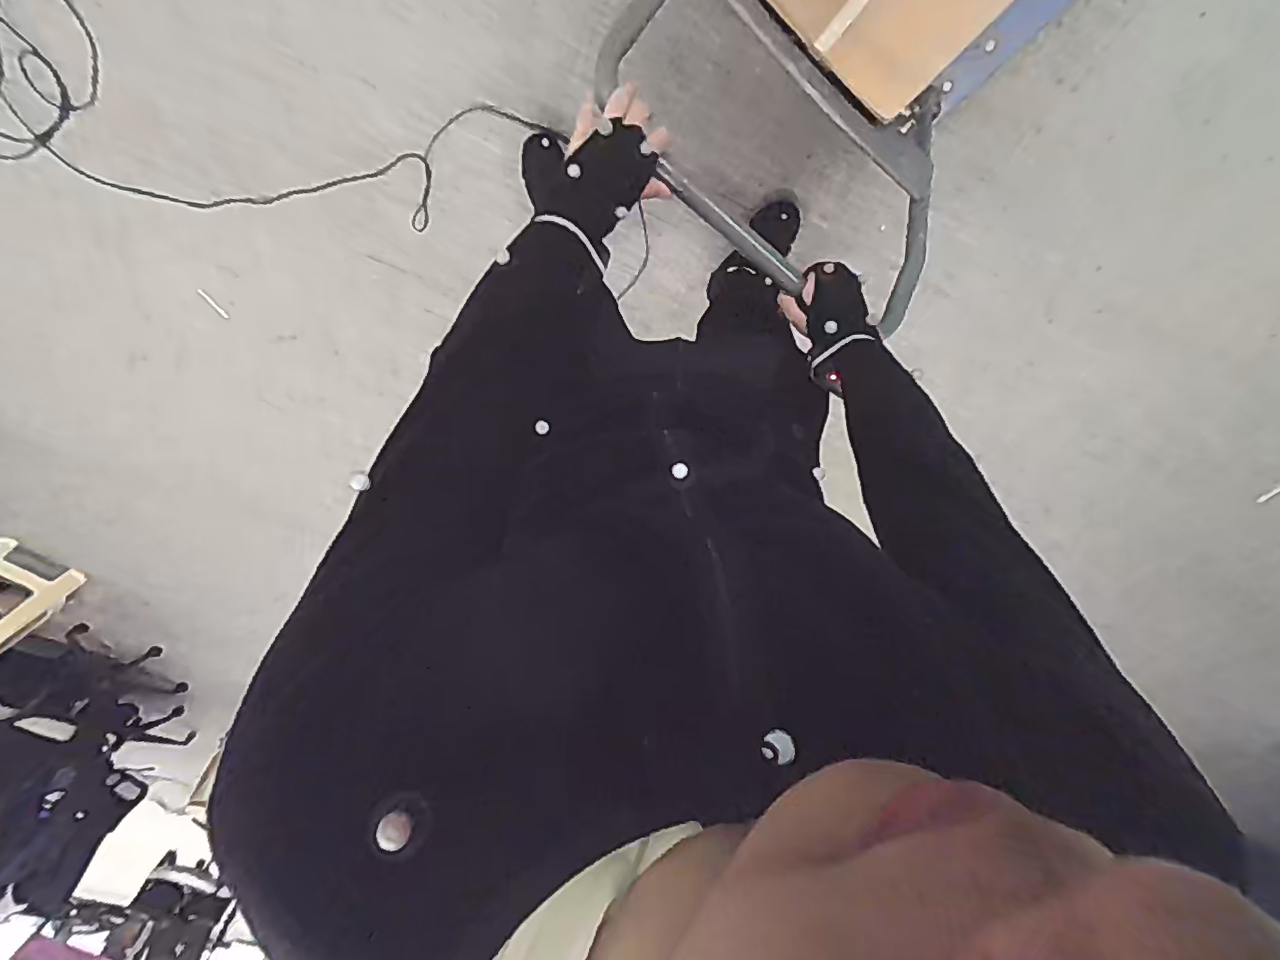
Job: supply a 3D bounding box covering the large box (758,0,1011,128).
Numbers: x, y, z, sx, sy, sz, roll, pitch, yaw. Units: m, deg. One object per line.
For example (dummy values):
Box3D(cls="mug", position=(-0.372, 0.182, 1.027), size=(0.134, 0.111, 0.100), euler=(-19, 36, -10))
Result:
Box3D(cls="large box", position=(0.404, -0.816, 0.744), size=(0.320, 0.320, 0.408), euler=(33, 142, -18))
